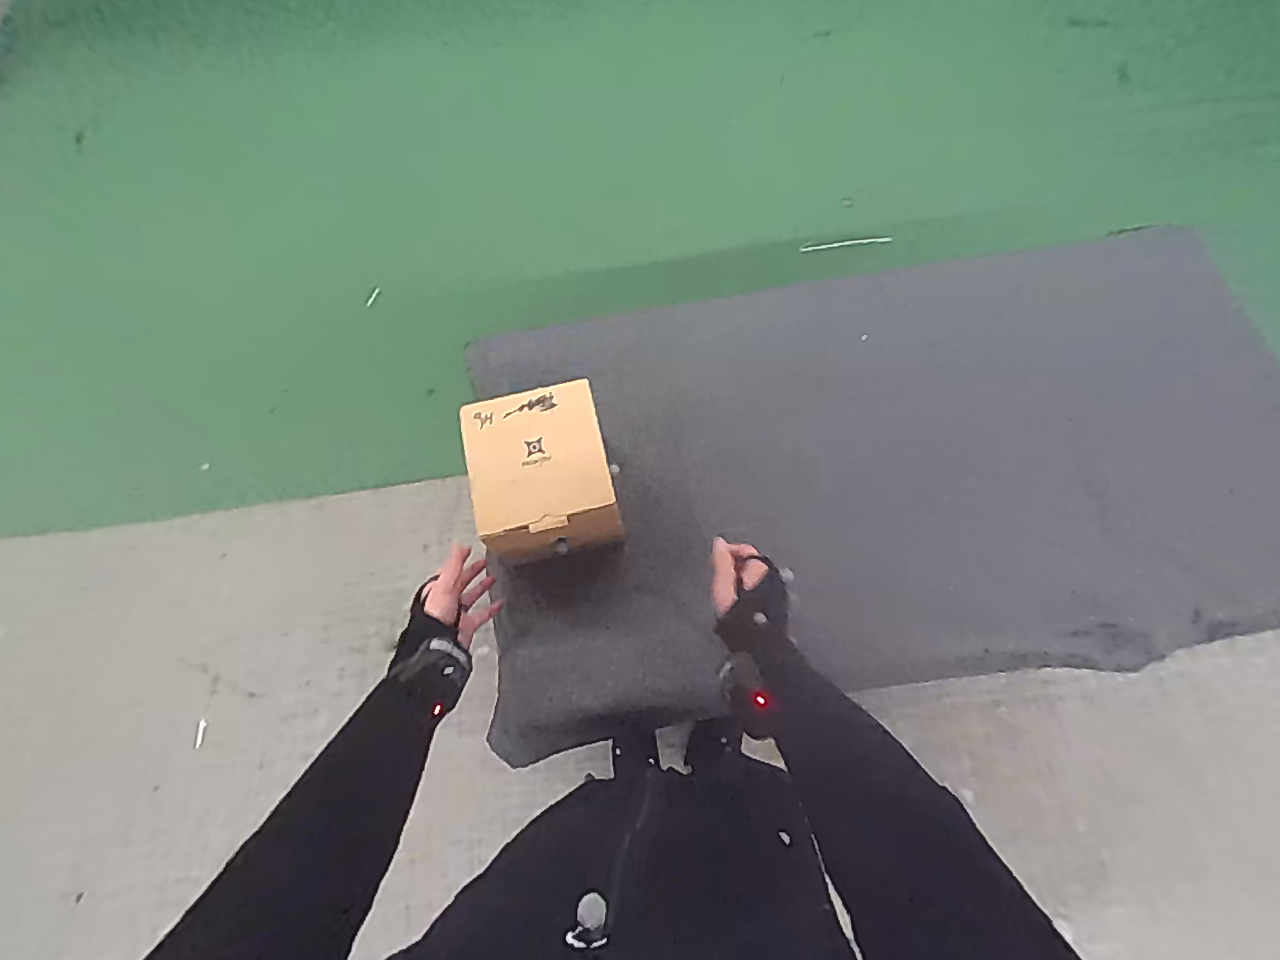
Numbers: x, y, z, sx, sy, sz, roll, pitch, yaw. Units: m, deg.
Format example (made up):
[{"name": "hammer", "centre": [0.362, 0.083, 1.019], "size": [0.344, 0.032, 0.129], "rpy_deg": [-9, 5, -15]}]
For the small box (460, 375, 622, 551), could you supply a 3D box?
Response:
[{"name": "small box", "centre": [-0.123, -0.010, 0.723], "size": [0.168, 0.176, 0.179], "rpy_deg": [-13, 72, -3]}]
